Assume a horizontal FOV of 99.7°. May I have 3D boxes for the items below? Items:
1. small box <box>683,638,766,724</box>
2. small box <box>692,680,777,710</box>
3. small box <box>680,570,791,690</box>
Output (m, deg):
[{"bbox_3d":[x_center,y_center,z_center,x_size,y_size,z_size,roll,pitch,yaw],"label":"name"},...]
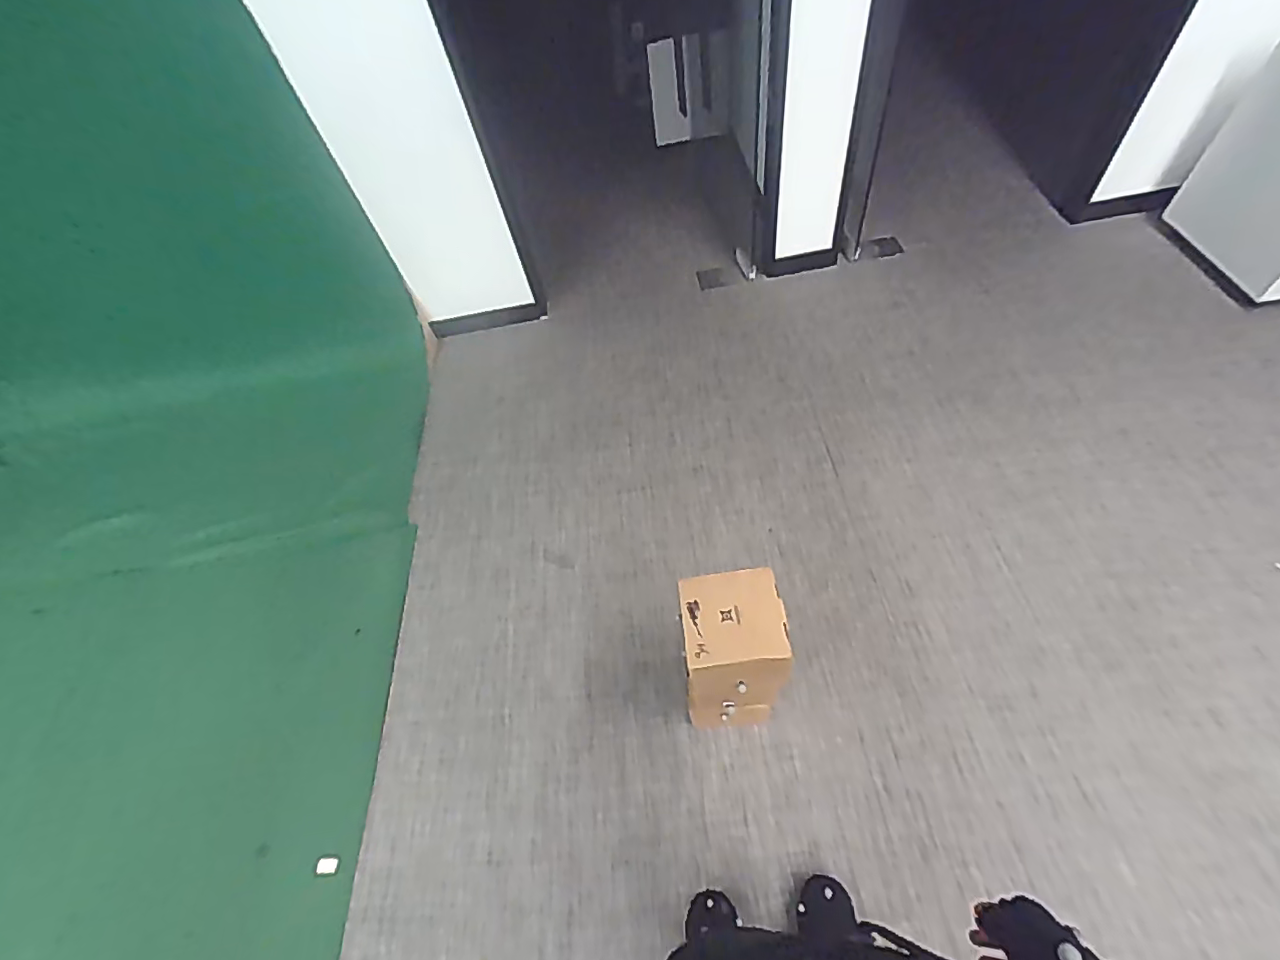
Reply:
[{"bbox_3d":[0.202,0.473,1.281,0.179,0.176,0.168,-6,55,5],"label":"small box"},{"bbox_3d":[0.191,0.376,1.152,0.168,0.176,0.179,-9,55,6],"label":"small box"},{"bbox_3d":[0.174,0.286,1.016,0.179,0.176,0.168,-8,54,5],"label":"small box"}]
